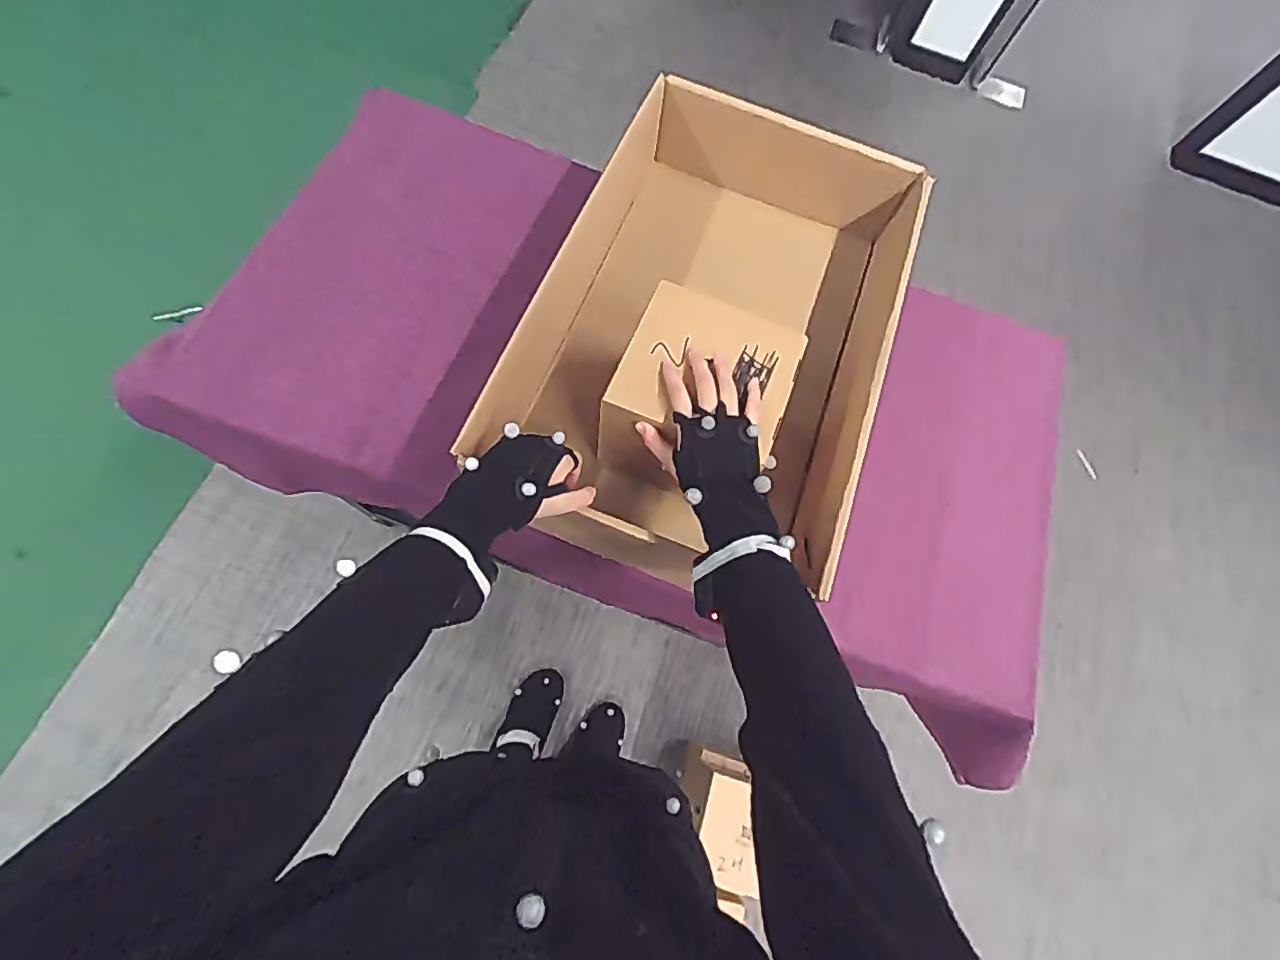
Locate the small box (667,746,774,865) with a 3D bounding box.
[{"bbox_3d":[0.173,0.712,1.207,0.179,0.176,0.168,20,70,1],"label":"small box"}]
